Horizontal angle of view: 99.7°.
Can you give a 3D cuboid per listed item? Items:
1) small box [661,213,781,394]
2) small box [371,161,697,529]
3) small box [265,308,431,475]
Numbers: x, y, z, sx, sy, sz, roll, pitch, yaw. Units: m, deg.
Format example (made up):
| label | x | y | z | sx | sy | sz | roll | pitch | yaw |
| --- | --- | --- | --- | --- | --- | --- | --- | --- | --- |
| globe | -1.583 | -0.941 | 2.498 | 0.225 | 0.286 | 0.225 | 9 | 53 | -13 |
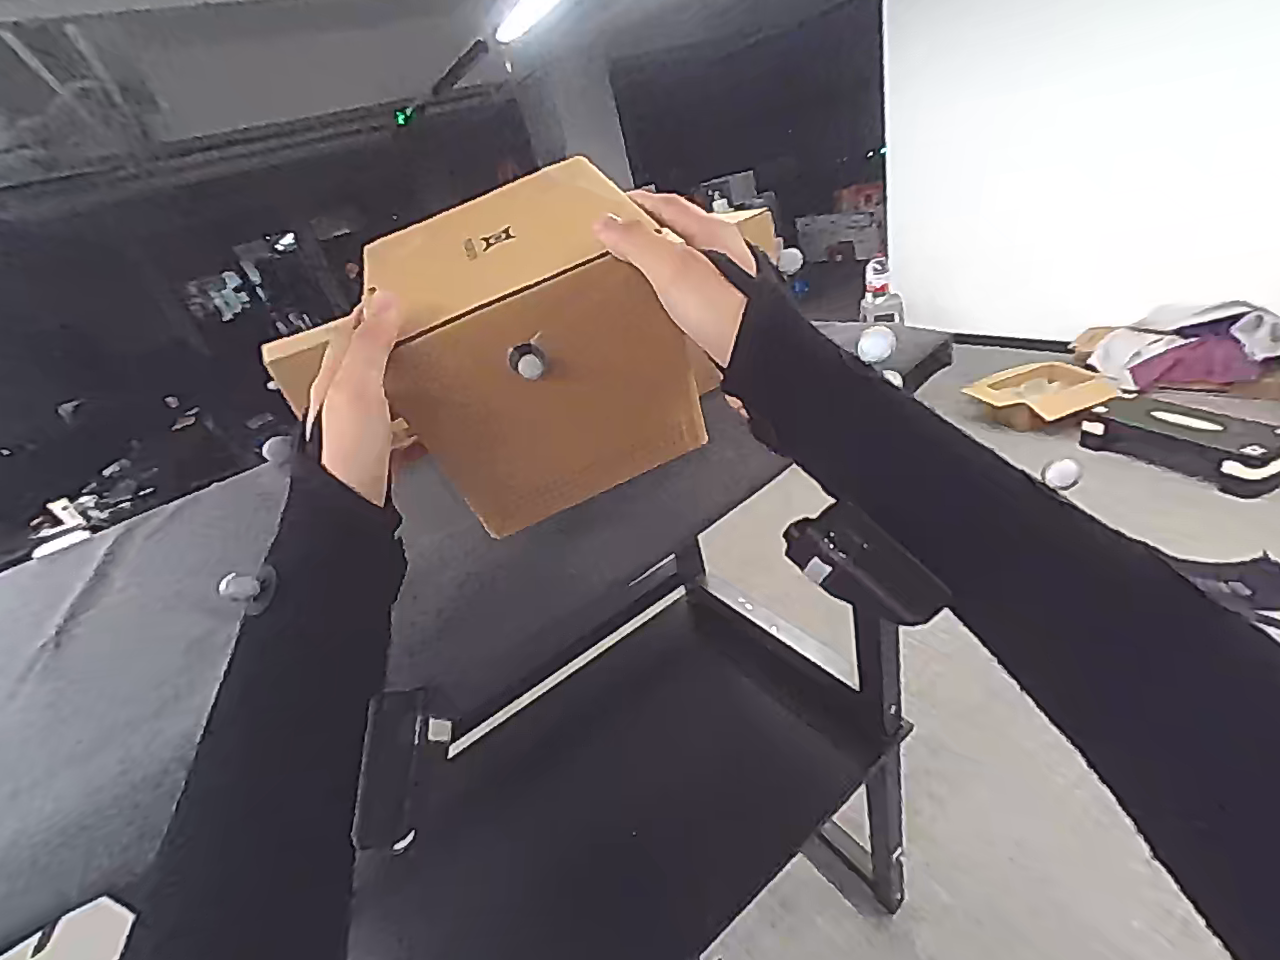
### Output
| label | x | y | z | sx | sy | sz | roll | pitch | yaw |
| --- | --- | --- | --- | --- | --- | --- | --- | --- | --- |
| small box | 0.053 | -0.218 | 0.678 | 0.168 | 0.176 | 0.179 | -27 | 31 | -17 |
| small box | -0.069 | -0.096 | 0.400 | 0.179 | 0.176 | 0.168 | -25 | 47 | -3 |
| small box | -0.379 | -0.127 | 0.740 | 0.168 | 0.176 | 0.179 | -31 | 33 | -23 |
